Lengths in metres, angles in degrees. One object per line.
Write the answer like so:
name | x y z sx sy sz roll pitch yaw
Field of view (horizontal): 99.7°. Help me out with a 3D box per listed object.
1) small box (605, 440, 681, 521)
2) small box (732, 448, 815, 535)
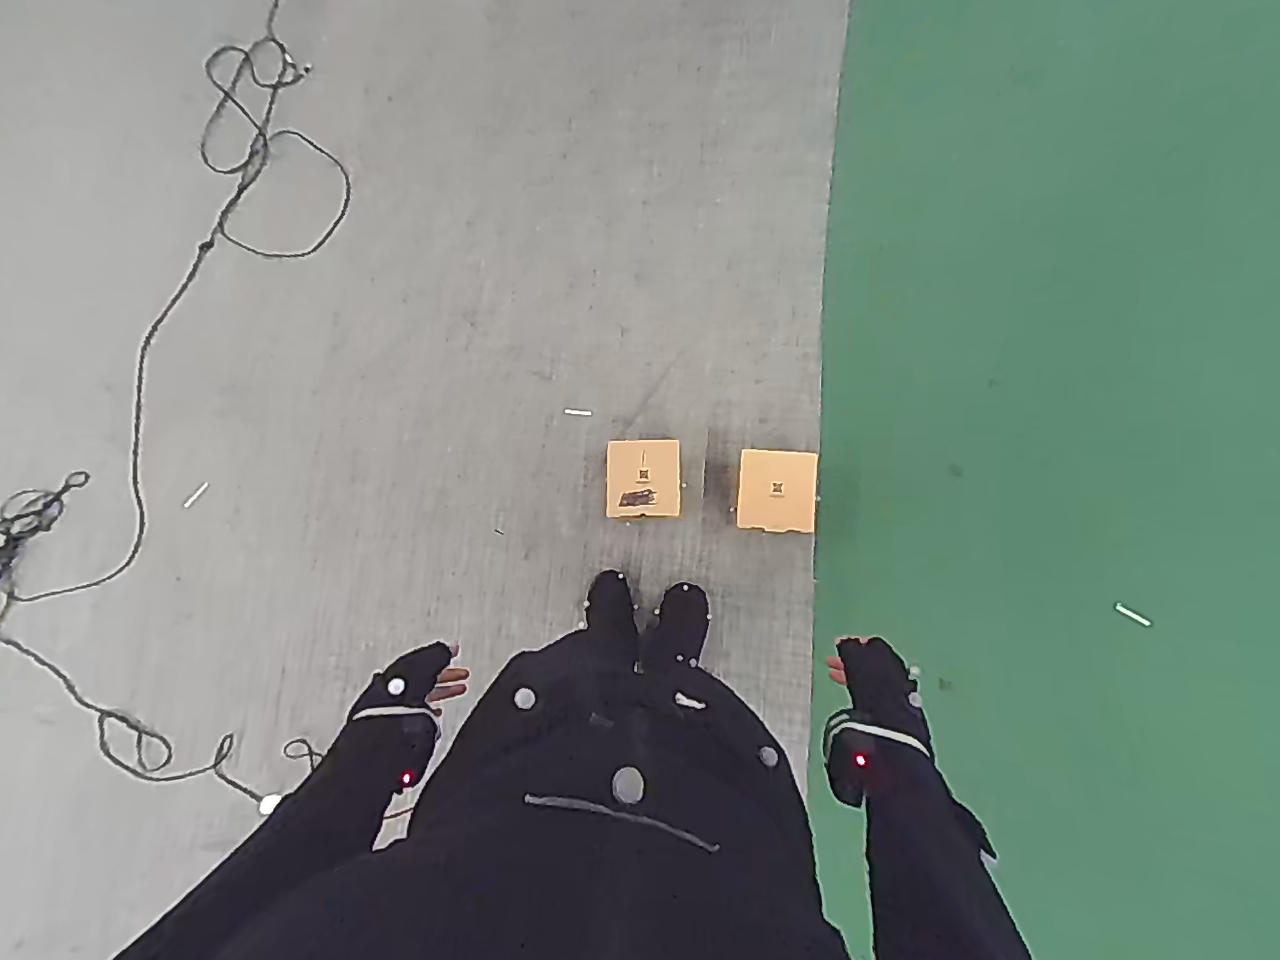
small box | 0.014 0.006 1.288 0.168 0.176 0.179 0 82 5
small box | 0.303 0.032 1.256 0.168 0.176 0.179 4 83 7
